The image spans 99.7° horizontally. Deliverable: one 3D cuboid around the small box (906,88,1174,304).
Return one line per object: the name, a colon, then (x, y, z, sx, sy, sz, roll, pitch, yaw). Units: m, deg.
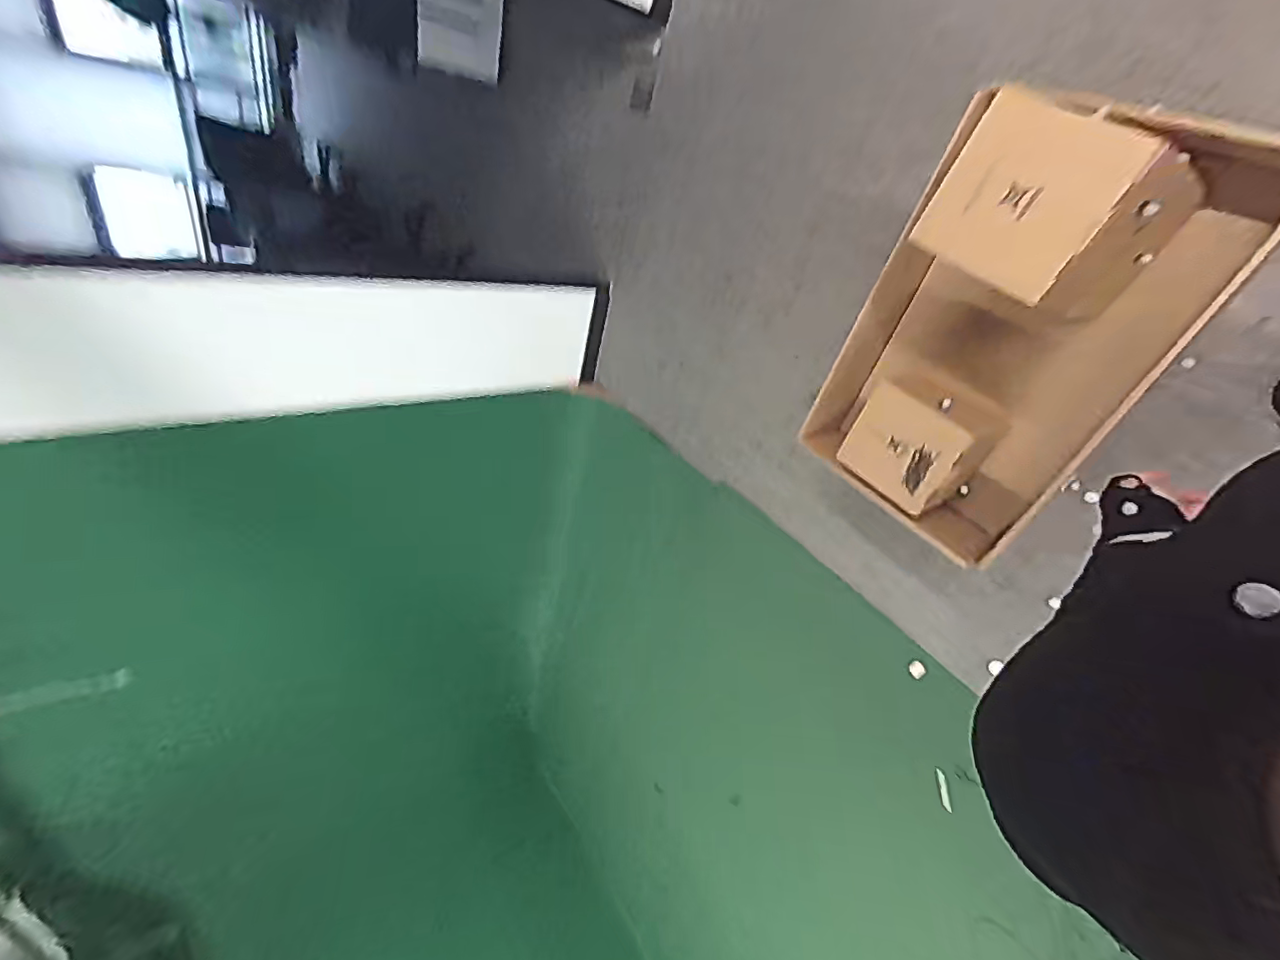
small box: (0.472, -0.327, 0.644, 0.179, 0.176, 0.168, 51, 135, 30)
